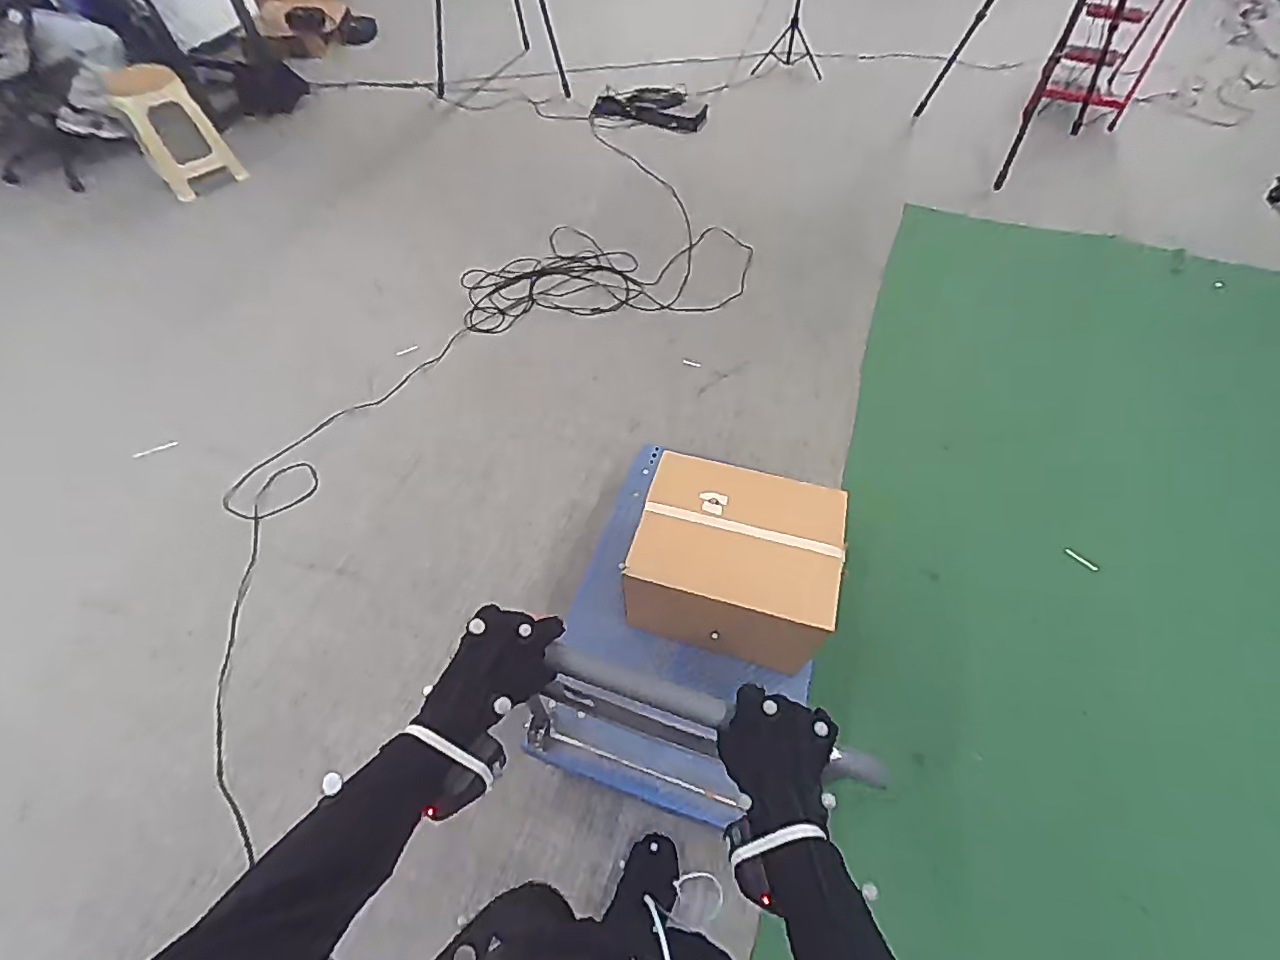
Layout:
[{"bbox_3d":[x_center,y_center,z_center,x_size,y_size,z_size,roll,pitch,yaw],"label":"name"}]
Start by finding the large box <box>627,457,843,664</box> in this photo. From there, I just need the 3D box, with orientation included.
[{"bbox_3d":[0.212,0.188,1.229,0.408,0.320,0.320,12,57,11],"label":"large box"}]
